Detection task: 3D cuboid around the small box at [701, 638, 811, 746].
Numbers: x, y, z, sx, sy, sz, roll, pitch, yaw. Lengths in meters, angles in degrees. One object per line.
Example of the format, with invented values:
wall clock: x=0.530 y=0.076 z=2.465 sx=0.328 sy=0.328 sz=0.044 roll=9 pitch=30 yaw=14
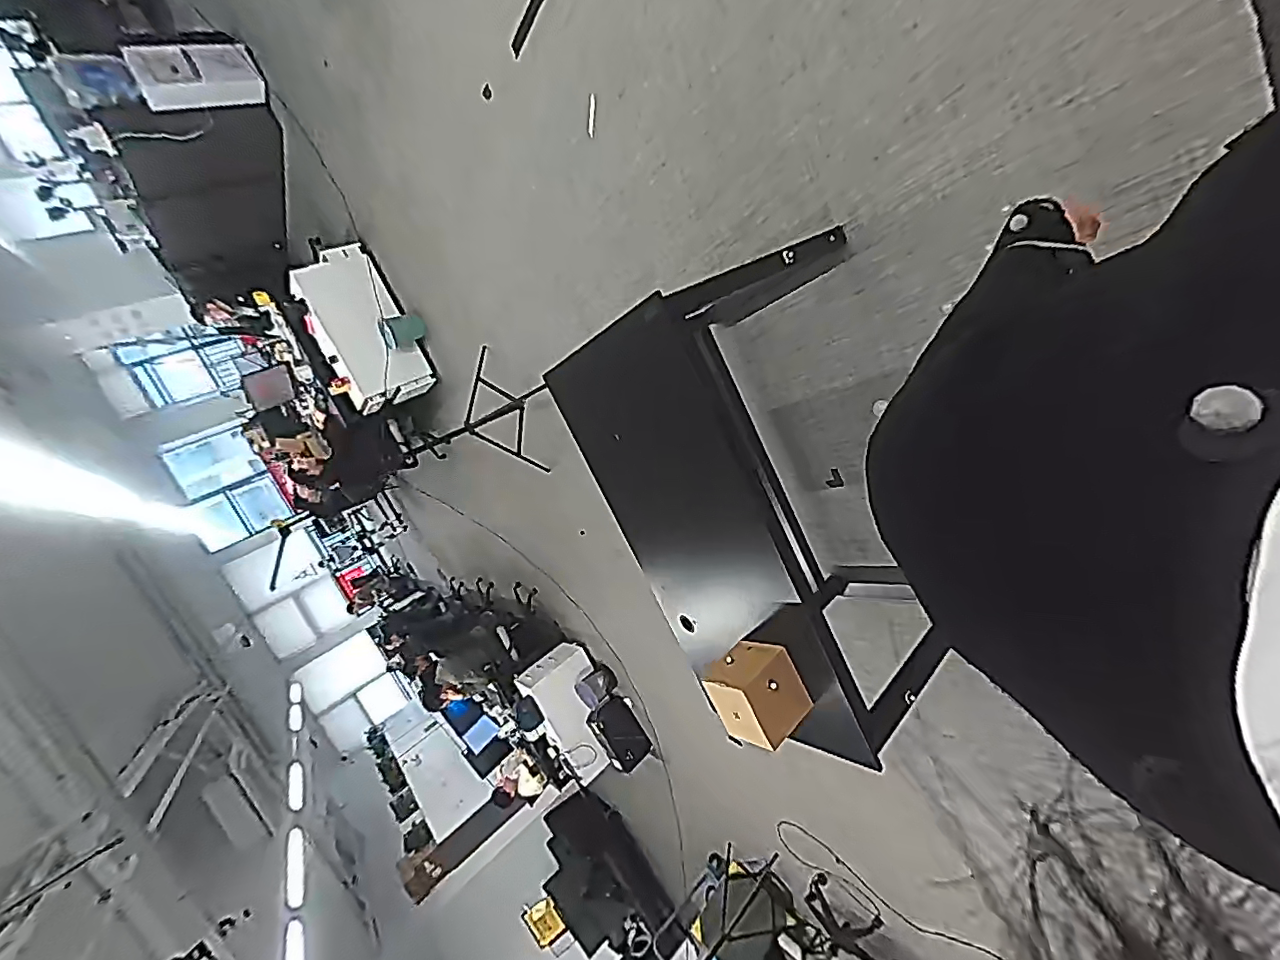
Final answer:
small box: x=0.293 y=0.522 z=1.358 sx=0.168 sy=0.176 sz=0.179 roll=-16 pitch=104 yaw=59
